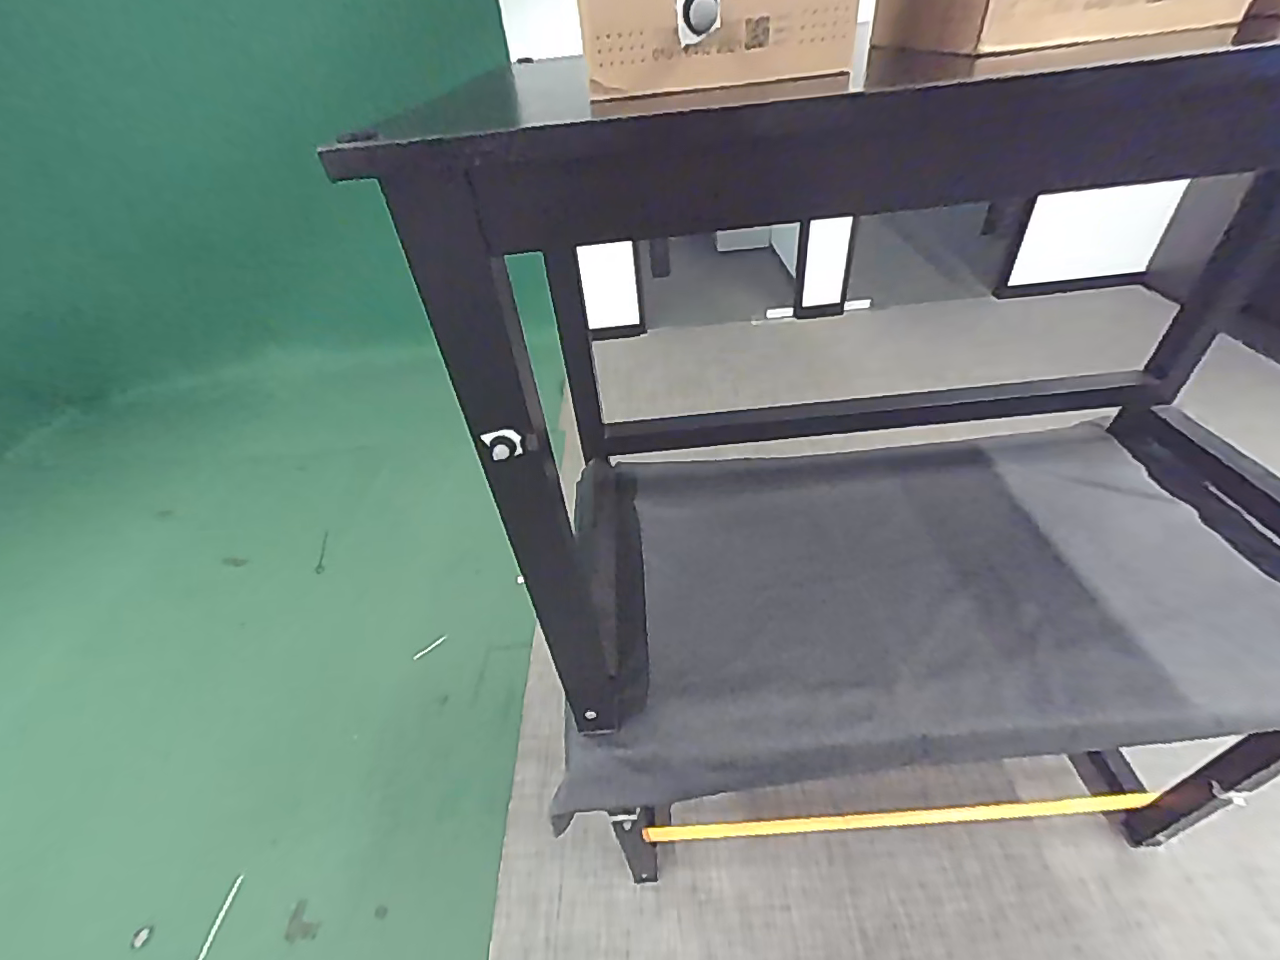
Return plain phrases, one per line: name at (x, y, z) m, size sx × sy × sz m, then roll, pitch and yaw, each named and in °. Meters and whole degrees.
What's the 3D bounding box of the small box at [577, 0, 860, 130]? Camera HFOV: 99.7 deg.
small box at (0.039, -0.345, 0.355) m, size 0.168 × 0.176 × 0.179 m, roll -8°, pitch 42°, yaw 1°
